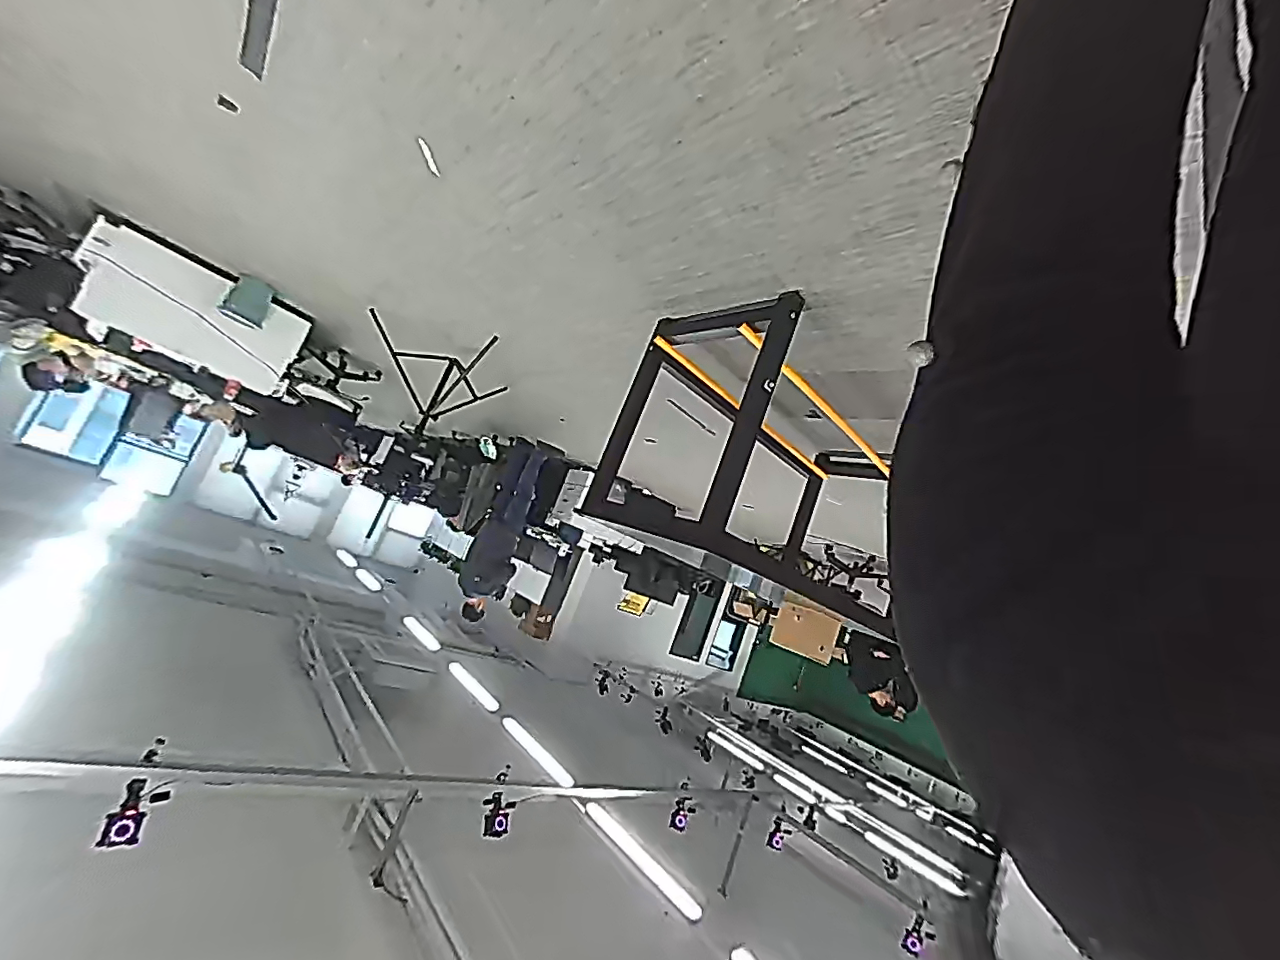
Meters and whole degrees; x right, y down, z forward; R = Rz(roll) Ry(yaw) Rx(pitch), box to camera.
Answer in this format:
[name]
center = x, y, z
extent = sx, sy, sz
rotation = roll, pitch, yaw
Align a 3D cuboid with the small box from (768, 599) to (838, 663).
[small box]
center = 0.625, 0.570, 2.054
extent = 0.179, 0.176, 0.168
rotation = 30, 167, -36
